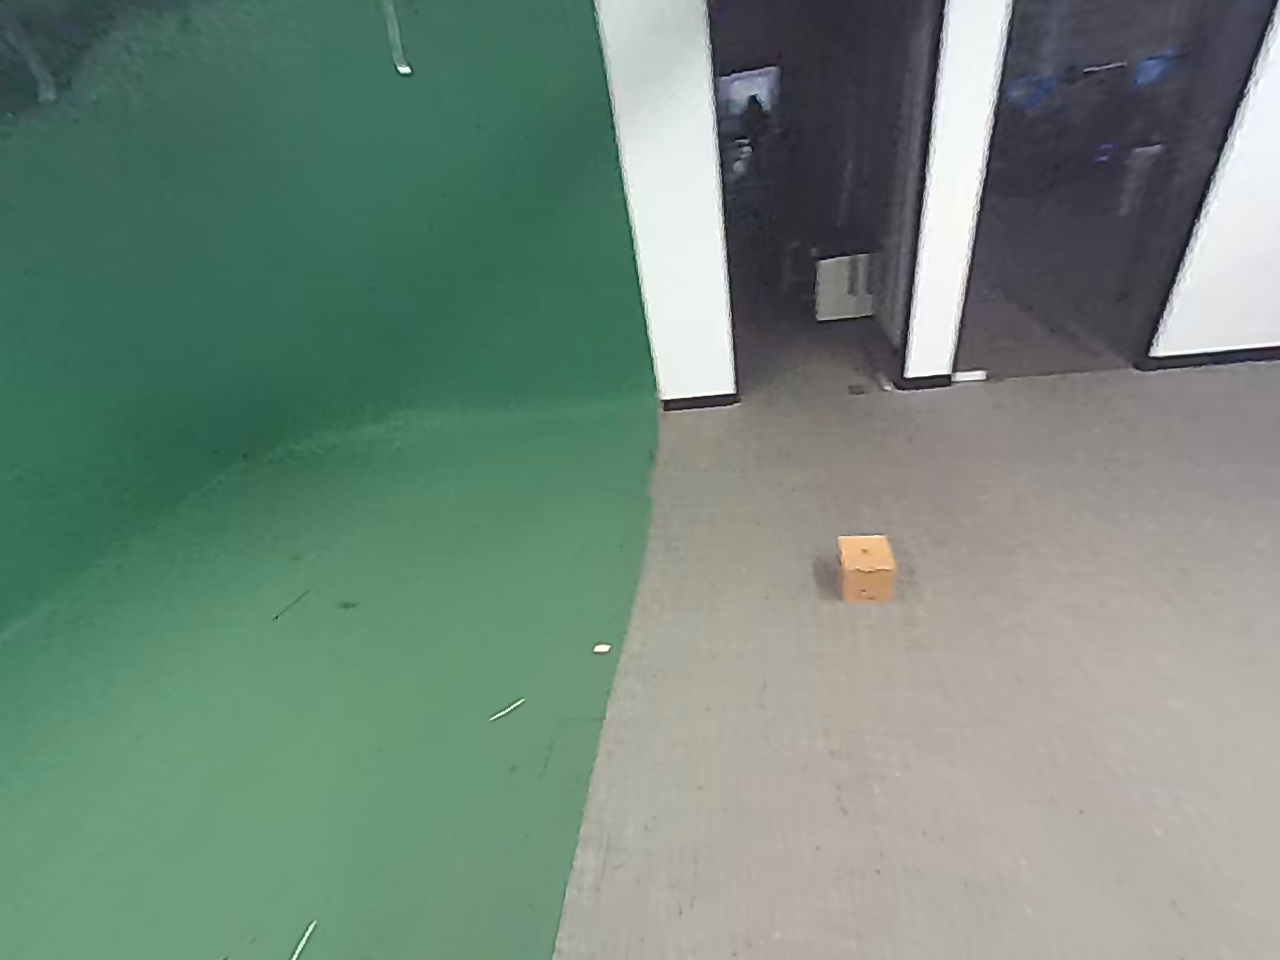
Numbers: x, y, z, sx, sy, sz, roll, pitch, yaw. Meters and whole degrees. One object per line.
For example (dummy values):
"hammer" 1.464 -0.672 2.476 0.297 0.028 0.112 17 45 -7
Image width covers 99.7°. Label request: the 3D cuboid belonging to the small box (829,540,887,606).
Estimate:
"small box" 0.789 0.337 1.971 0.168 0.176 0.179 -2 34 12
